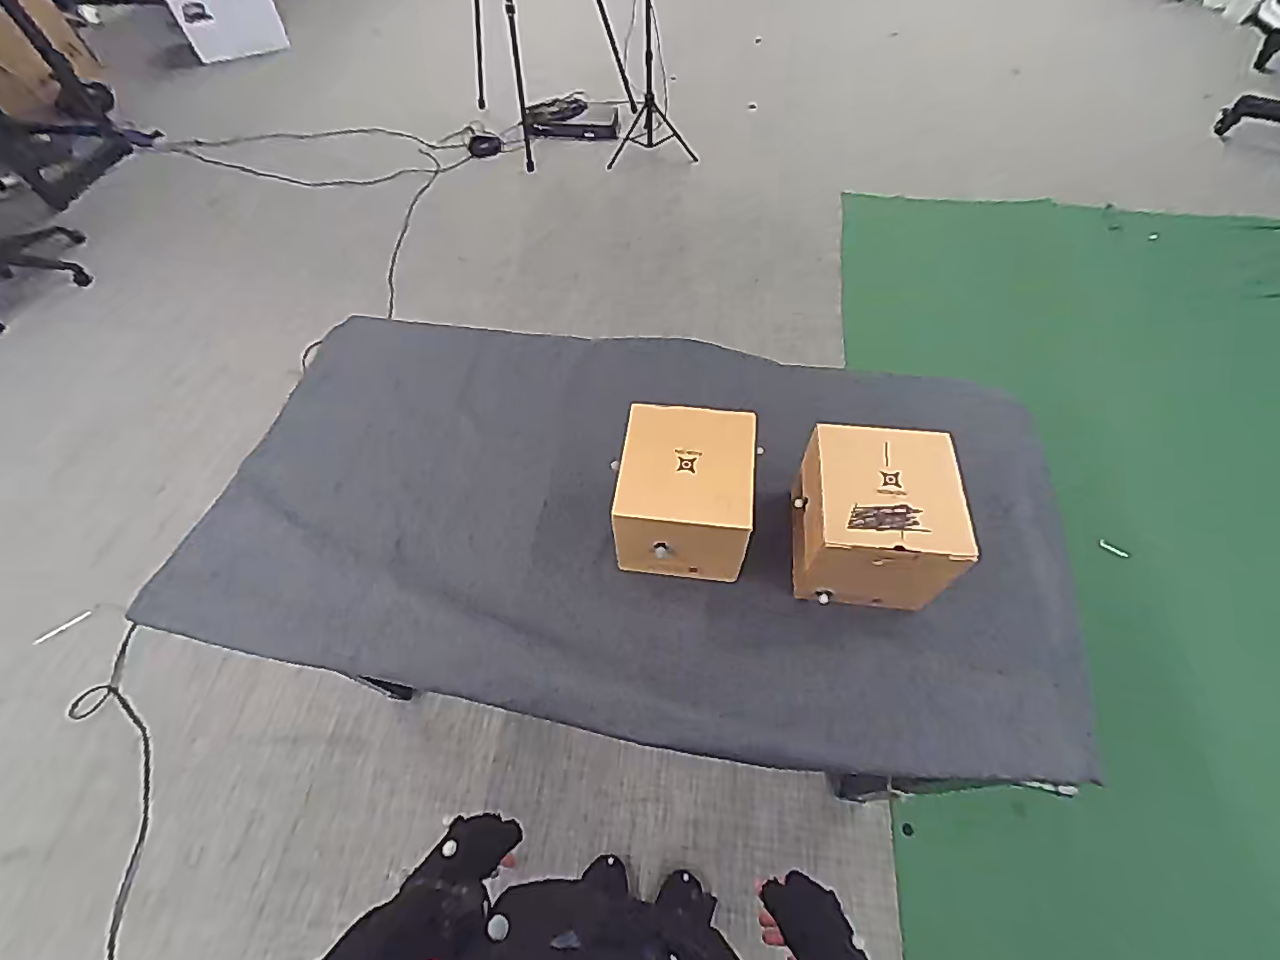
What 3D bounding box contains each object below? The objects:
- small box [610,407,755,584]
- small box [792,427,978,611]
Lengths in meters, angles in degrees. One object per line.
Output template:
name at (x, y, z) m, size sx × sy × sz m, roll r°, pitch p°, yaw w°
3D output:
small box at (0.060, 0.026, 0.730) m, size 0.168 × 0.176 × 0.179 m, roll 5°, pitch 57°, yaw 6°
small box at (0.297, 0.055, 0.698) m, size 0.168 × 0.176 × 0.179 m, roll 5°, pitch 56°, yaw 5°
